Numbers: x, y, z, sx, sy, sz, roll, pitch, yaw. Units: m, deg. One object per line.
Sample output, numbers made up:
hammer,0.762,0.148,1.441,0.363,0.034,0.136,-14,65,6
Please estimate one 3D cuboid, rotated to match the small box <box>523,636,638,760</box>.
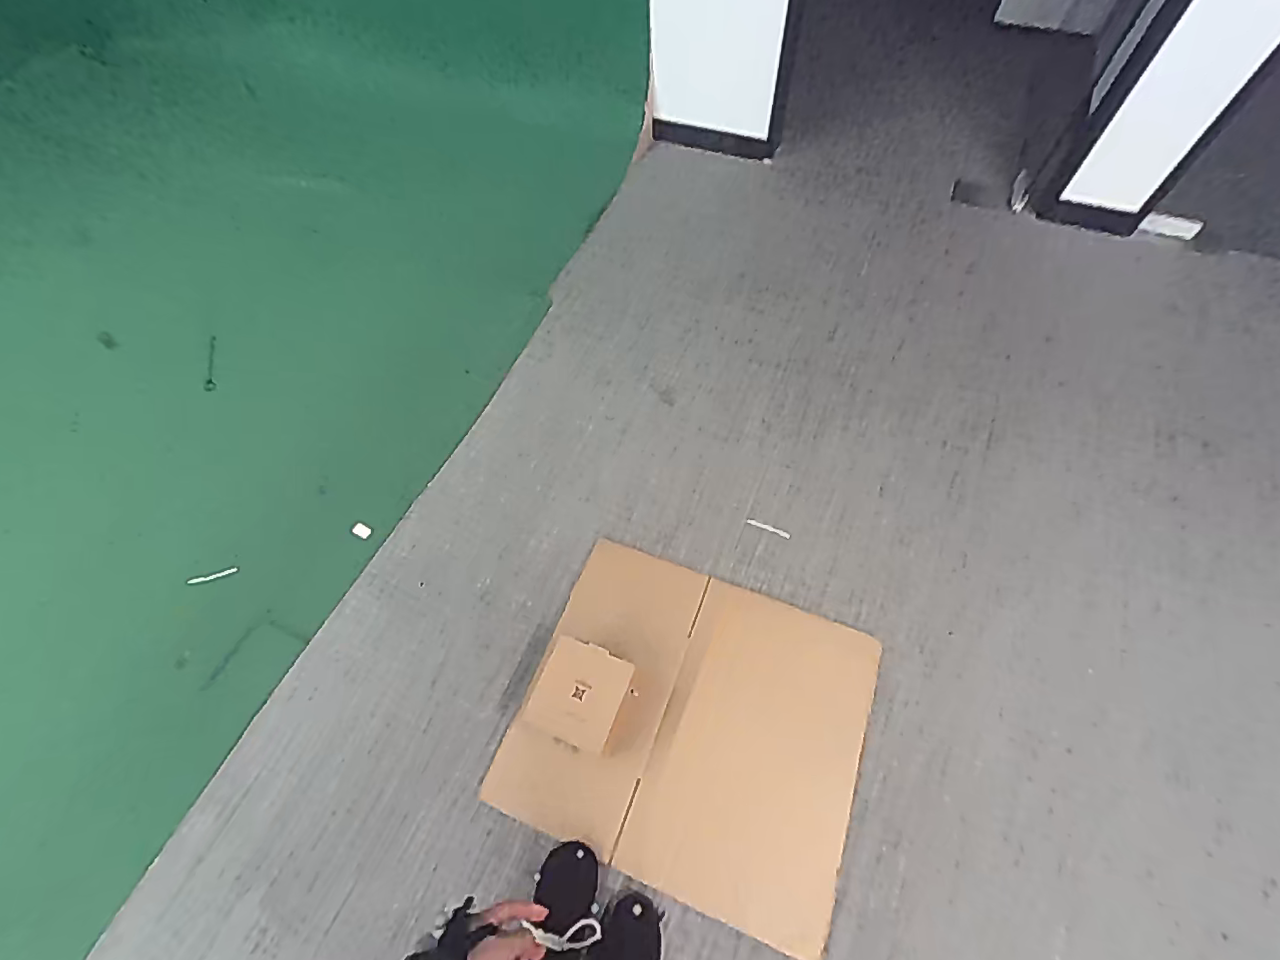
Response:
small box,-0.109,0.441,1.089,0.168,0.176,0.179,19,65,14
